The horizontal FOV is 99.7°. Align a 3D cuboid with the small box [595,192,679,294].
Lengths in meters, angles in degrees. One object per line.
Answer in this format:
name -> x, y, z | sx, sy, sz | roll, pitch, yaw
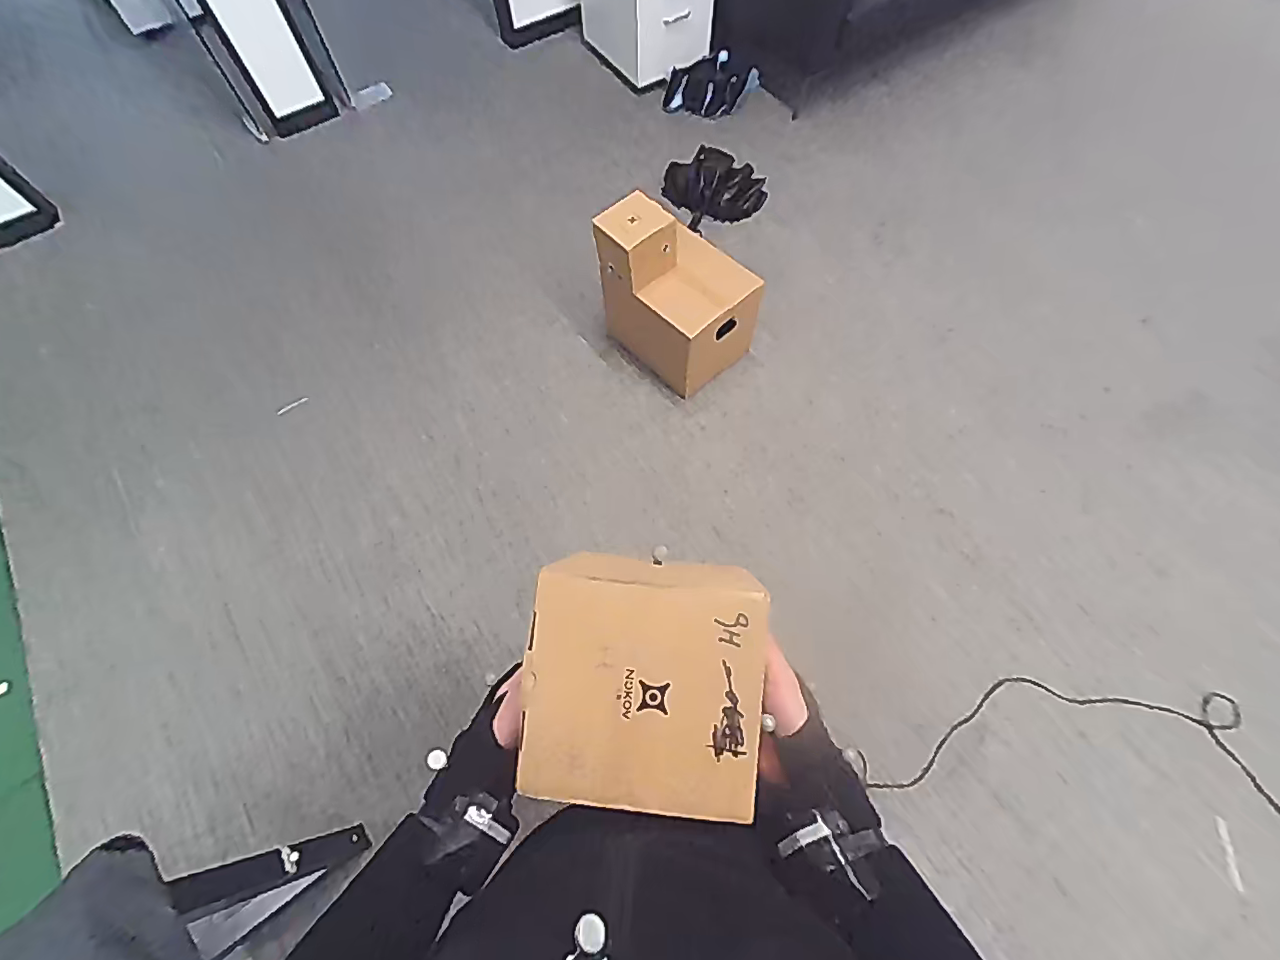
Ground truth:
small box -> -0.005, -0.684, 1.571 | 0.179, 0.176, 0.168 | -39, 68, -11
